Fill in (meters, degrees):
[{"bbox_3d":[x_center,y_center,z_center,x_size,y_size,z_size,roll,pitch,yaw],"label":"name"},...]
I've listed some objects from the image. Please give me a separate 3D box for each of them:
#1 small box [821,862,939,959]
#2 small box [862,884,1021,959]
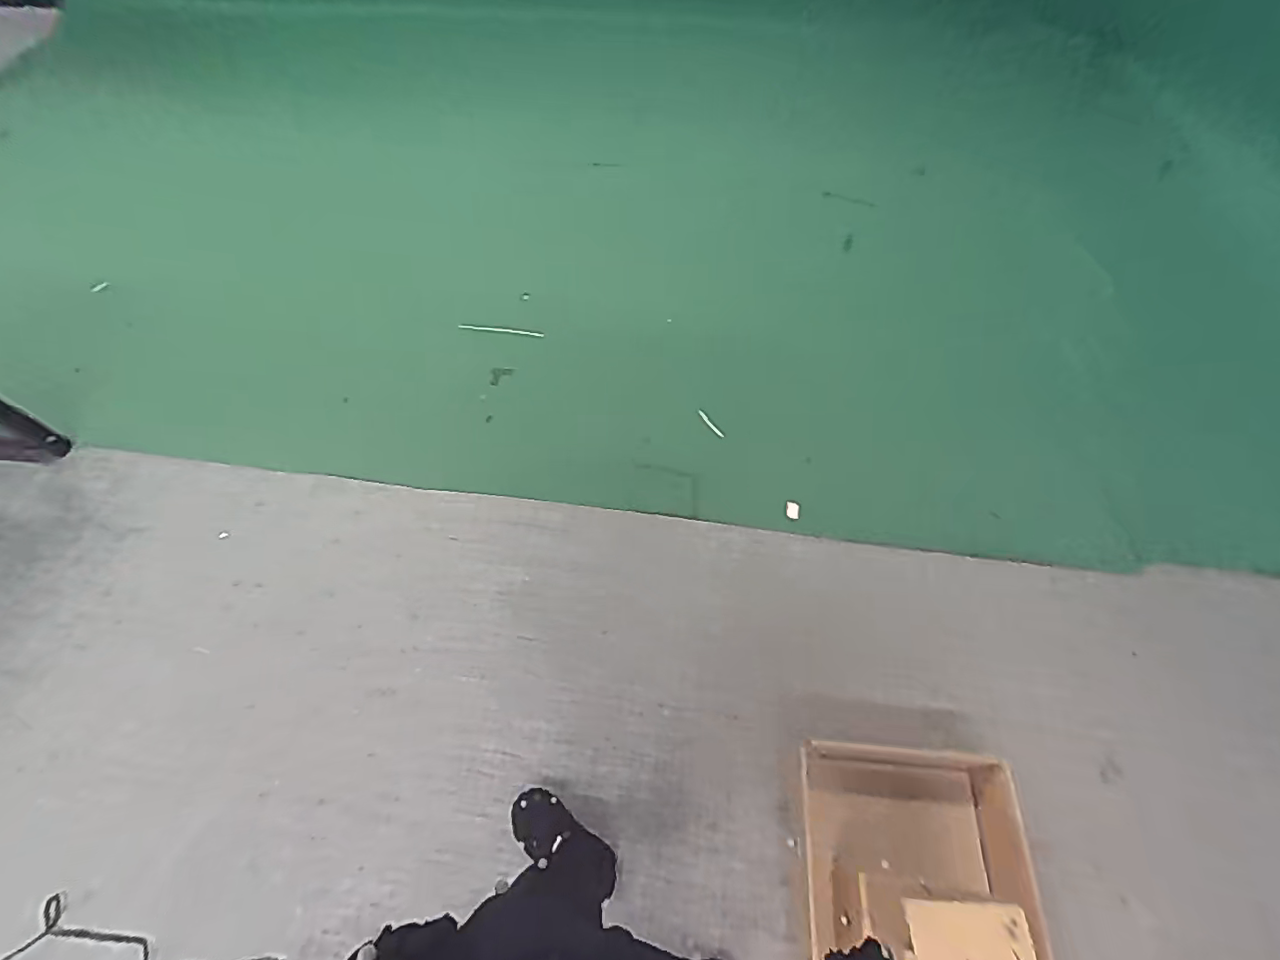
[{"bbox_3d":[0.439,0.822,0.988,0.168,0.176,0.179,7,58,3],"label":"small box"},{"bbox_3d":[0.457,0.736,0.832,0.179,0.176,0.168,3,59,2],"label":"small box"}]
